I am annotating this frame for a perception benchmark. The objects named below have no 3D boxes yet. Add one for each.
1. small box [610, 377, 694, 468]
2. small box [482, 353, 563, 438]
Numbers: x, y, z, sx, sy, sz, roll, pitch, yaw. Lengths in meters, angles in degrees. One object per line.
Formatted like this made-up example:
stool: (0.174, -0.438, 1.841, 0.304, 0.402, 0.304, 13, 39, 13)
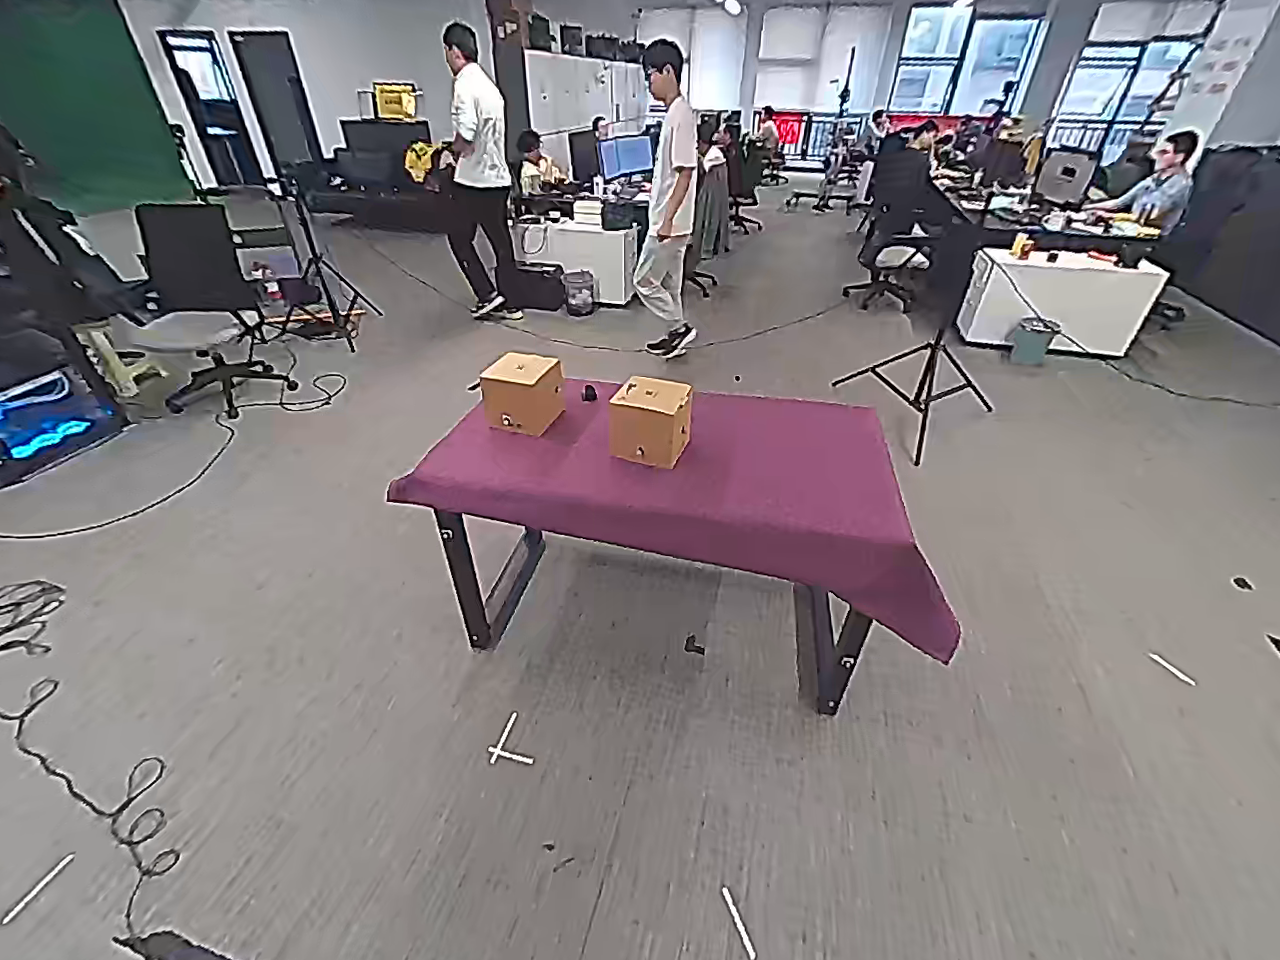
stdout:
small box: (0.032, -0.151, 1.434, 0.179, 0.176, 0.168, 14, 38, 16)
small box: (-0.328, -0.245, 1.555, 0.168, 0.176, 0.179, 10, 38, 14)
